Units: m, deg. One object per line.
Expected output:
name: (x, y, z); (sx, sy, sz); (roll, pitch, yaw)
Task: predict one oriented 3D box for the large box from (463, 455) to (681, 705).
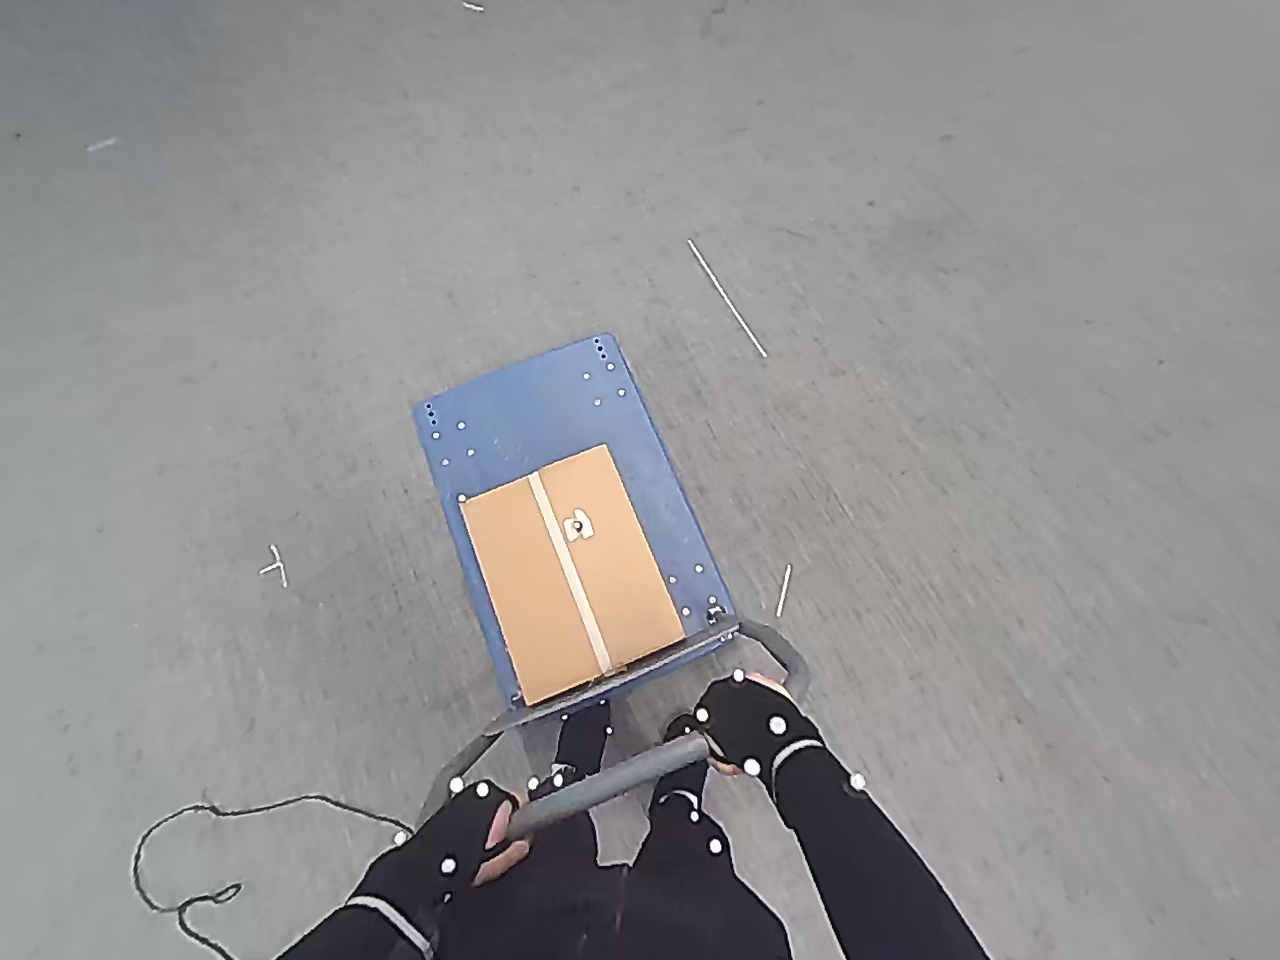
large box: (-0.129, 0.217, 1.183); (0.320, 0.320, 0.408); (-23, 75, -4)
